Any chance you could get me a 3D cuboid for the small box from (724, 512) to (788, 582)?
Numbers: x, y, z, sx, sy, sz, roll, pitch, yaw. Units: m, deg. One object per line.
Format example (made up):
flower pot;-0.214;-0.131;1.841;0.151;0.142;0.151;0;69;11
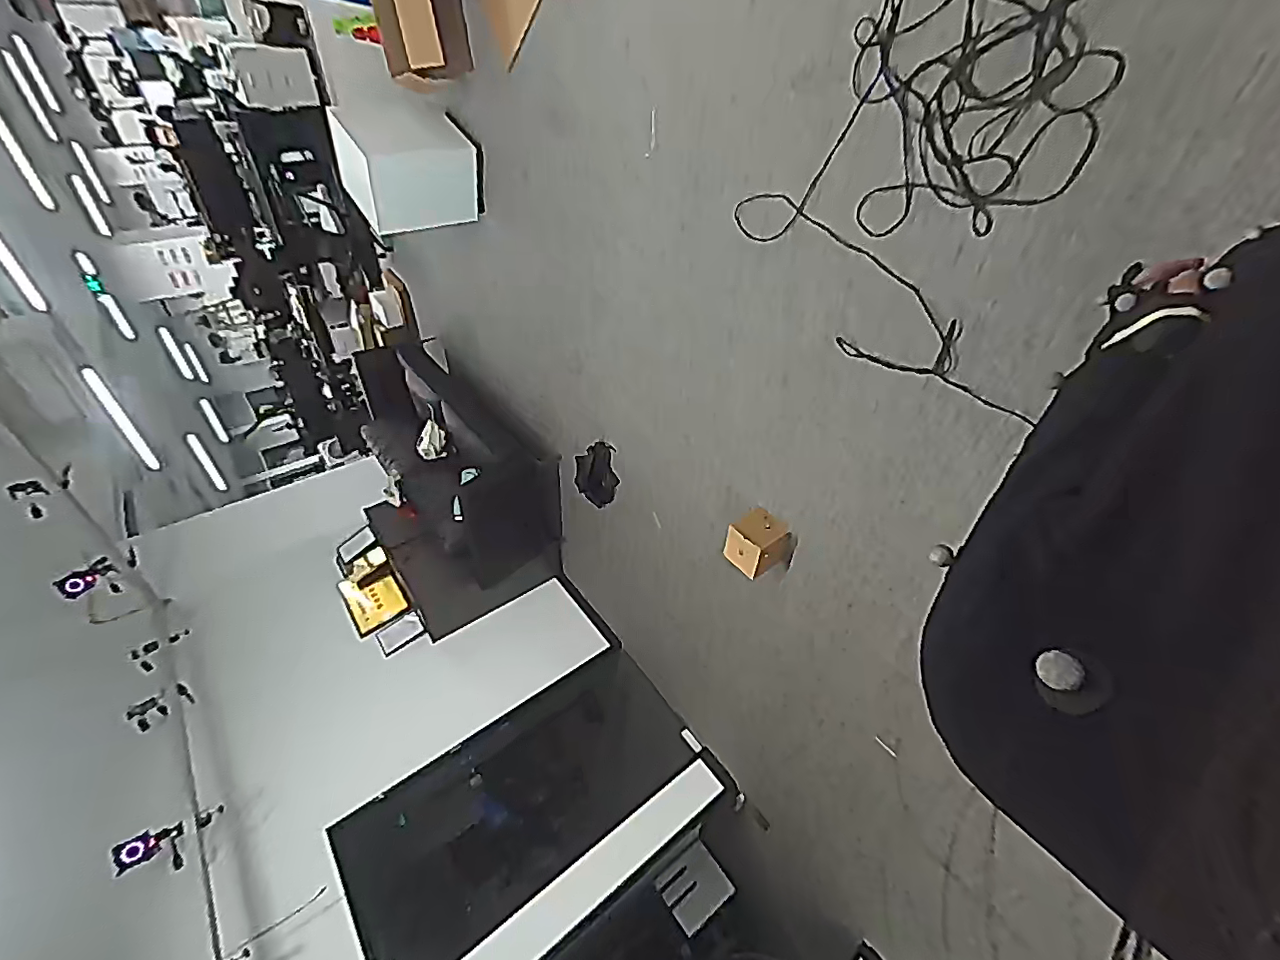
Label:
small box;0.456;0.259;2.116;0.168;0.176;0.179;41;142;37
